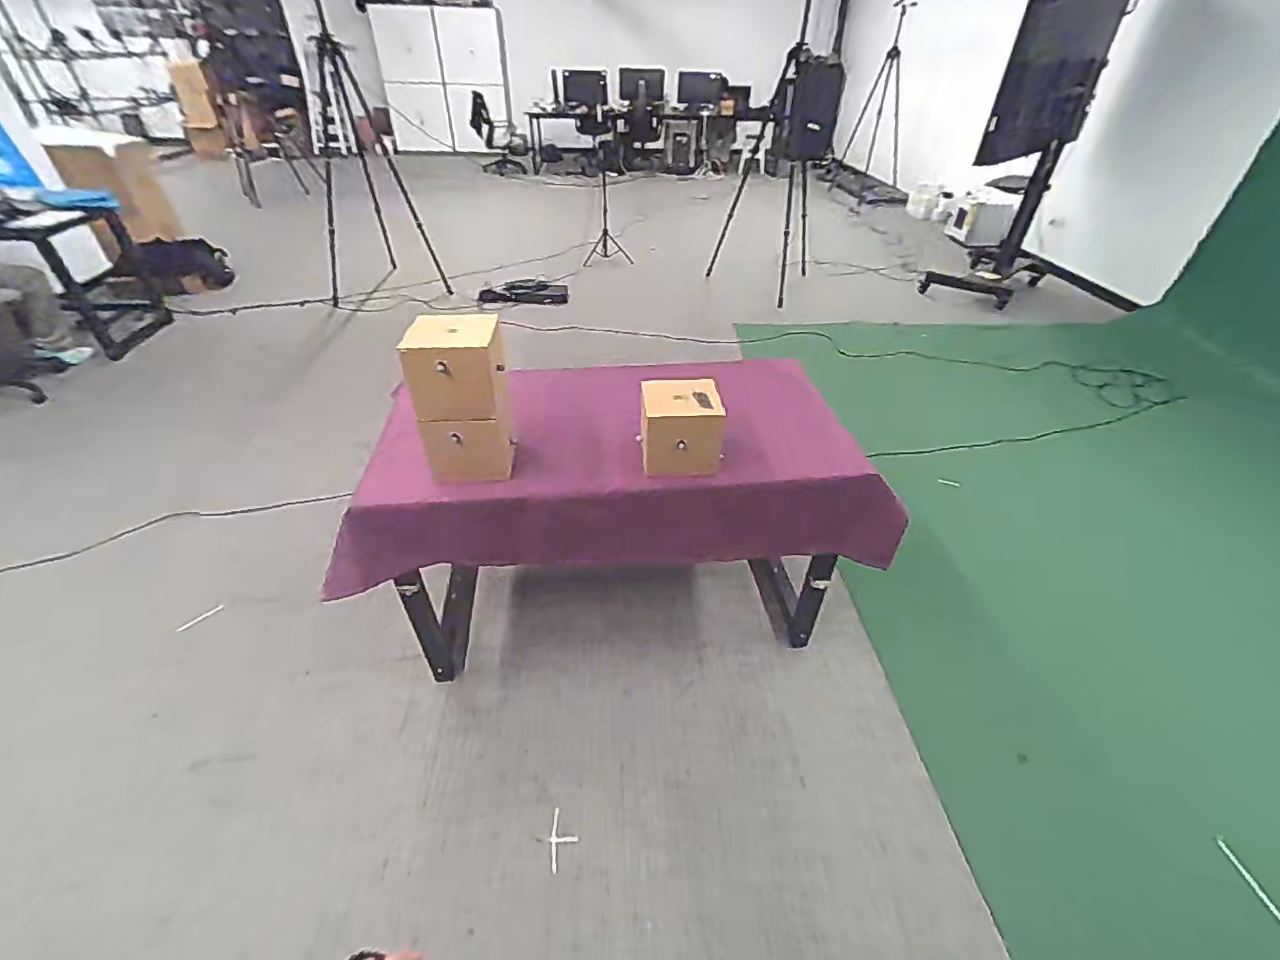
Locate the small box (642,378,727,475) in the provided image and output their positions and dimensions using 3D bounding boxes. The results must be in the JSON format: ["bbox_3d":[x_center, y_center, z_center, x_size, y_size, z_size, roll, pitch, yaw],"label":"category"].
[{"bbox_3d":[0.097,-0.125,1.275,0.179,0.176,0.168,-3,39,-3],"label":"small box"}]

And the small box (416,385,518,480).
[{"bbox_3d":[-0.389,-0.111,1.248,0.179,0.176,0.168,-1,39,-3],"label":"small box"}]

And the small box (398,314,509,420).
[{"bbox_3d":[-0.382,-0.239,1.147,0.179,0.176,0.168,-3,39,-3],"label":"small box"}]
